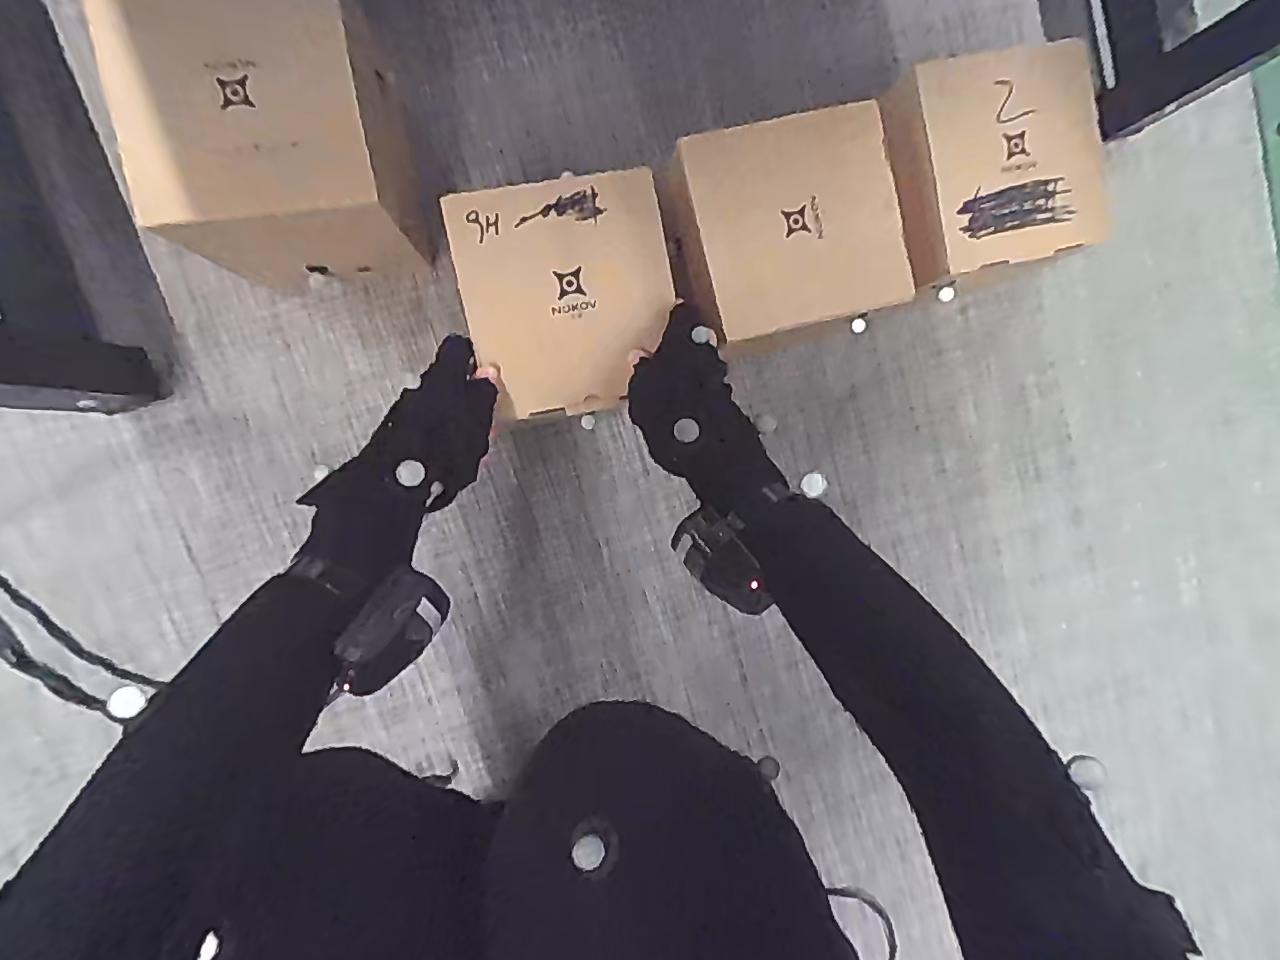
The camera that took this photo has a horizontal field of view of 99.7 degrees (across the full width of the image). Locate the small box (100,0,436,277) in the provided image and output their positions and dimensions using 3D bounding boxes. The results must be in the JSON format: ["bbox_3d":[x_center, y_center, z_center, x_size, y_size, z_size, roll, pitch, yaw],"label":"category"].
[{"bbox_3d":[-0.285,-0.291,0.454,0.168,0.176,0.179,-9,95,-7],"label":"small box"}]
